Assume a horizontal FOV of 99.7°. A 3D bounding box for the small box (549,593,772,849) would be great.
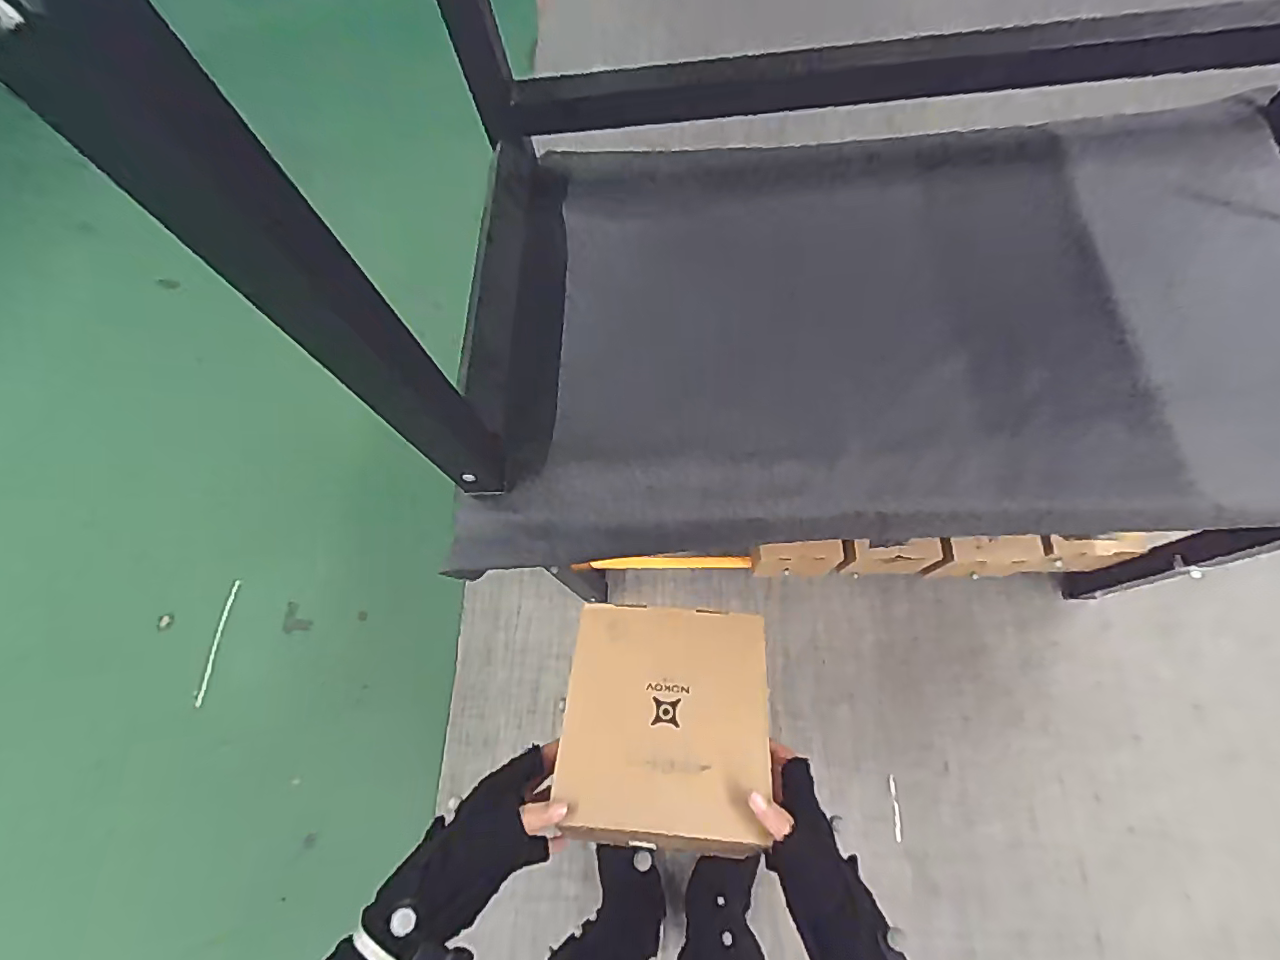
[{"bbox_3d":[0.022,0.225,0.503,0.168,0.176,0.179,2,53,4],"label":"small box"}]
